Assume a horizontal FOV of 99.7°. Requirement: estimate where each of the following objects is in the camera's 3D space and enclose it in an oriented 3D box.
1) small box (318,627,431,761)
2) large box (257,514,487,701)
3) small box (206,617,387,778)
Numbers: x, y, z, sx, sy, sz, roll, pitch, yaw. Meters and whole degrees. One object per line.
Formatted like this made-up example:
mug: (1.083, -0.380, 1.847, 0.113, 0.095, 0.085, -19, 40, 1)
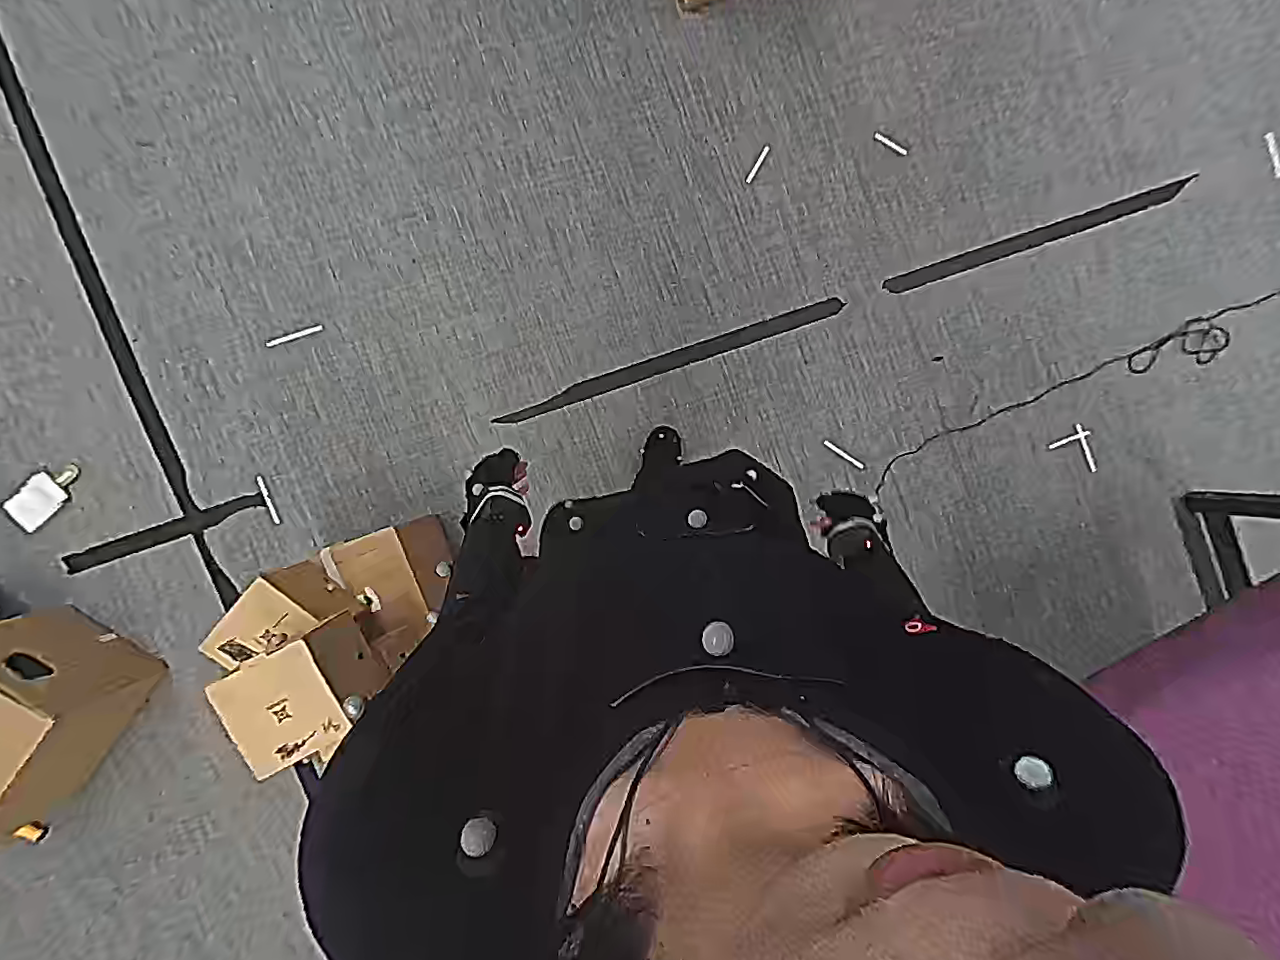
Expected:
small box: (-0.545, 0.419, 1.092, 0.179, 0.176, 0.168, -22, 91, -3)
large box: (-0.621, 0.332, 1.327, 0.320, 0.320, 0.408, -22, 92, -5)
small box: (-0.570, 0.353, 0.923, 0.168, 0.176, 0.179, -27, 94, -4)
